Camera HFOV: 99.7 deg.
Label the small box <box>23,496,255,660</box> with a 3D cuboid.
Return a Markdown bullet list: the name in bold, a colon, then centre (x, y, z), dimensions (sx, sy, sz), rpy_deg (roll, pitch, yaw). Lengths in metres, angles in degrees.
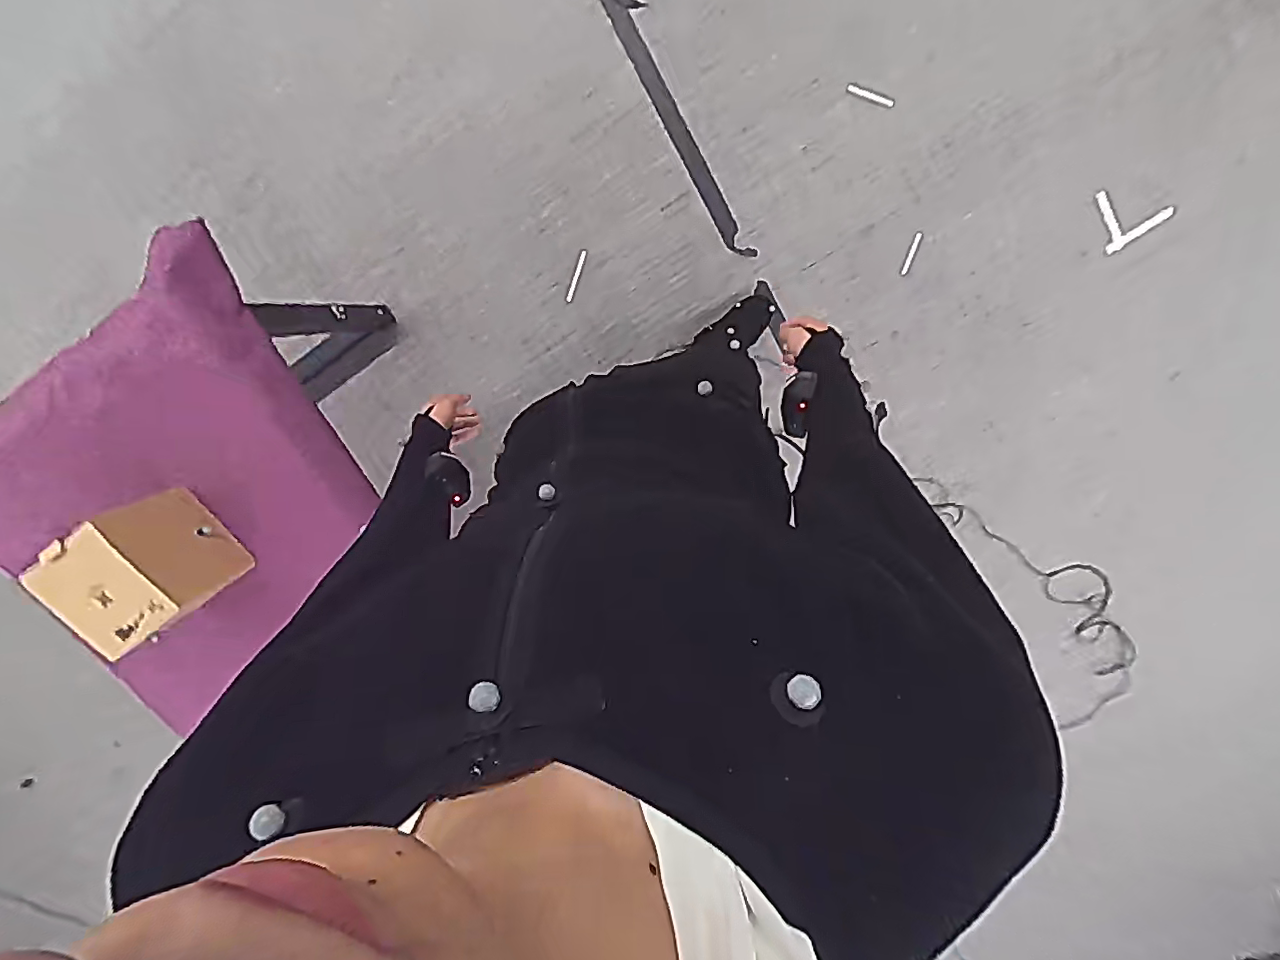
- **small box**: centre (-0.787, 0.144, 0.869), dimensions (0.168, 0.176, 0.179), rpy_deg (-33, 103, 12)
